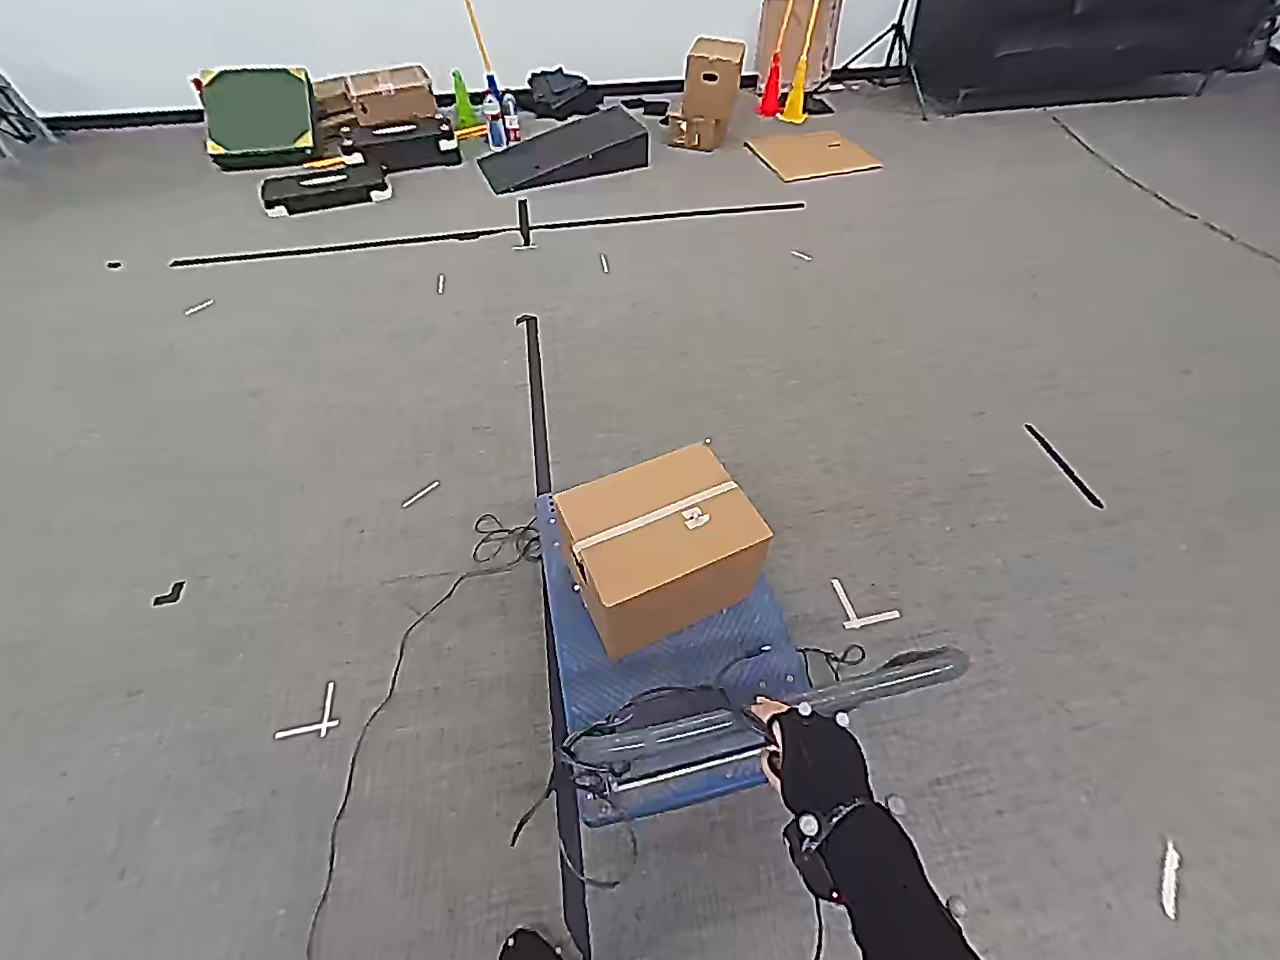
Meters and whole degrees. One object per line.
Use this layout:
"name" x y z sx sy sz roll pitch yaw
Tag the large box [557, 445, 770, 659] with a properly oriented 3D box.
"large box" 0.046 0.177 1.334 0.408 0.320 0.320 -19 55 -16
